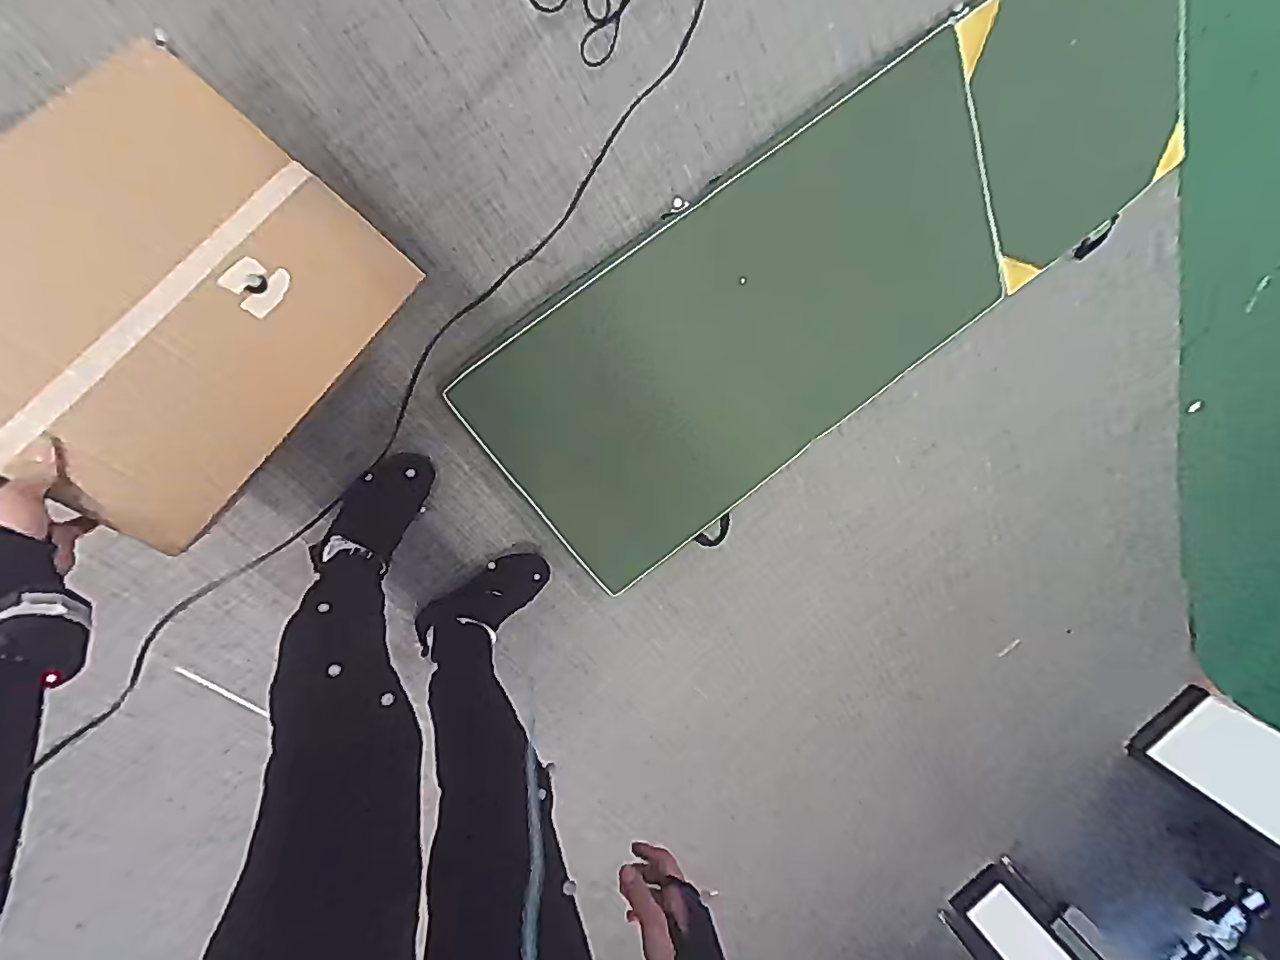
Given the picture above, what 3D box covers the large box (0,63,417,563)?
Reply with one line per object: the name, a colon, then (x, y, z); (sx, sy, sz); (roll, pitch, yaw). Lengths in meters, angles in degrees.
large box: (-0.550, -0.161, 0.662); (0.320, 0.320, 0.408); (40, 70, -27)
